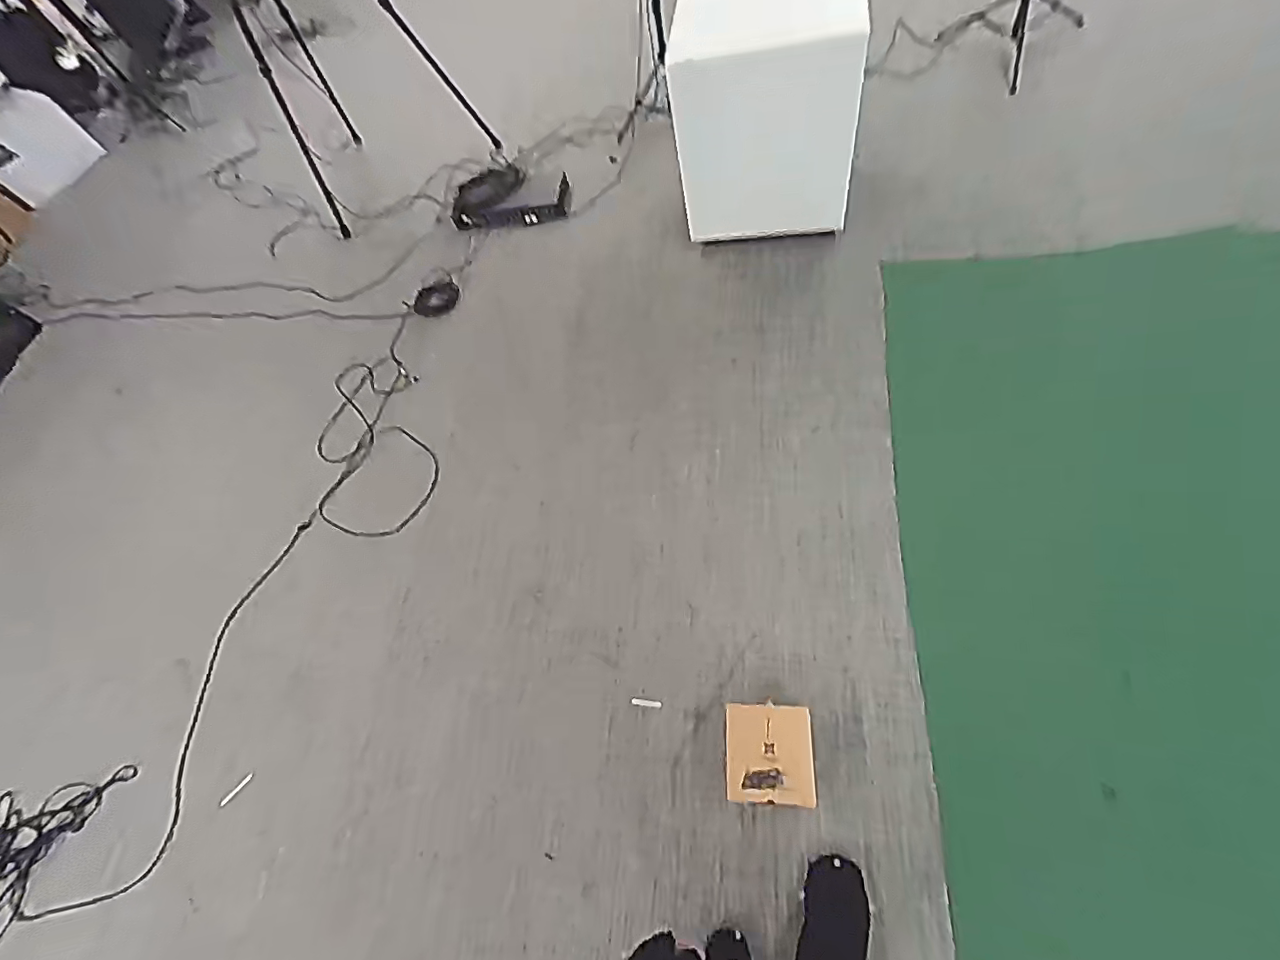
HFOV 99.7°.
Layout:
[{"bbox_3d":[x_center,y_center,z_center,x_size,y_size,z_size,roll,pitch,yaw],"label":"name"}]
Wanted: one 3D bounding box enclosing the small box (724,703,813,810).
[{"bbox_3d":[0.263,0.562,1.109,0.168,0.176,0.179,-2,62,12],"label":"small box"}]
